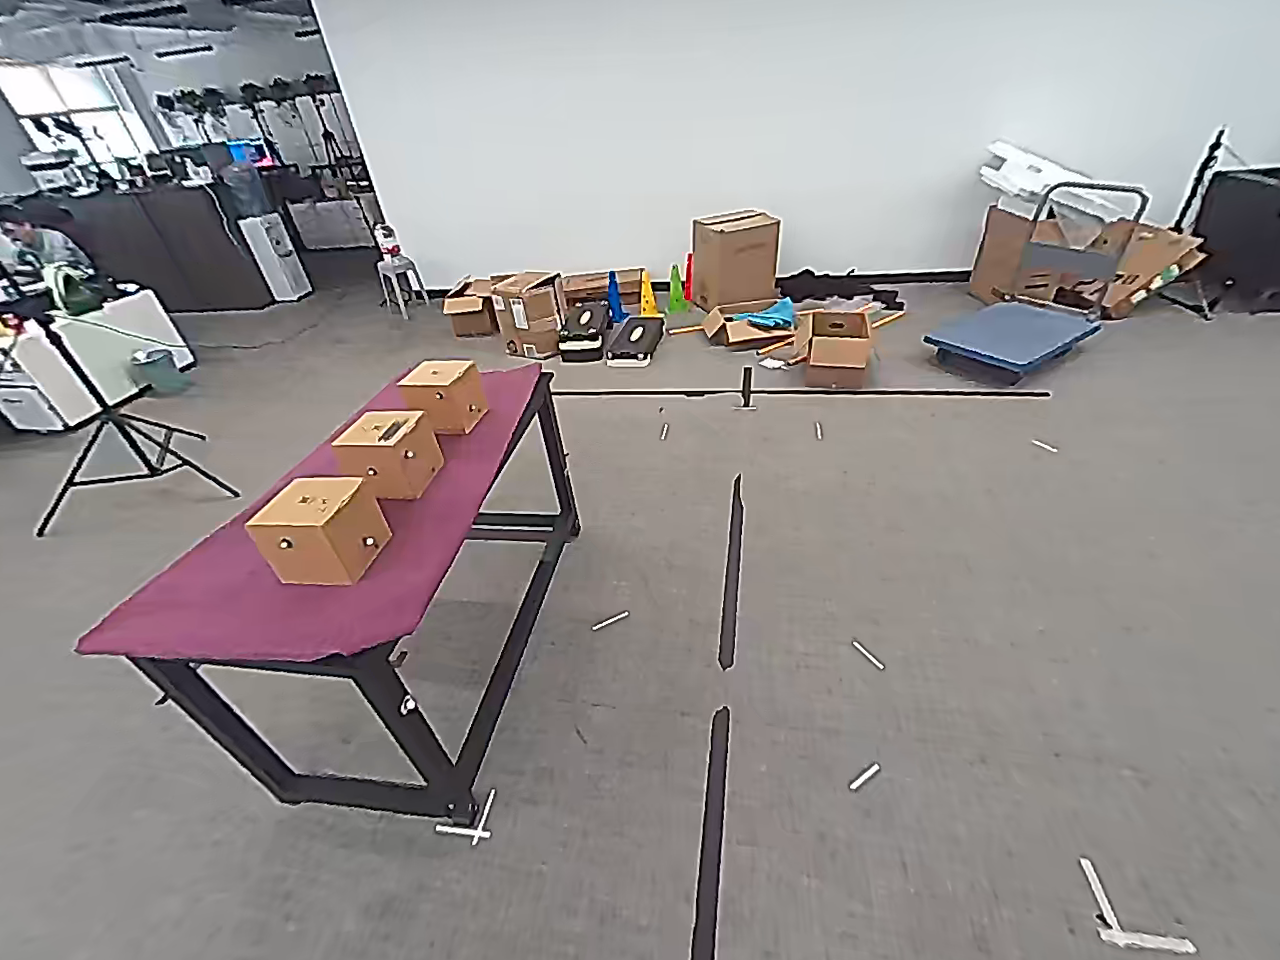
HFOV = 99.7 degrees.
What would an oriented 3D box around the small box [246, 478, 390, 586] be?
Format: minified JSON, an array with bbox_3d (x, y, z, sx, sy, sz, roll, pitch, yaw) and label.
[{"bbox_3d":[-0.679,0.112,1.165,0.179,0.176,0.168,0,36,8],"label":"small box"}]

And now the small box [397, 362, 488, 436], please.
[{"bbox_3d":[-0.591,-0.246,1.642,0.179,0.176,0.168,2,37,13],"label":"small box"}]
